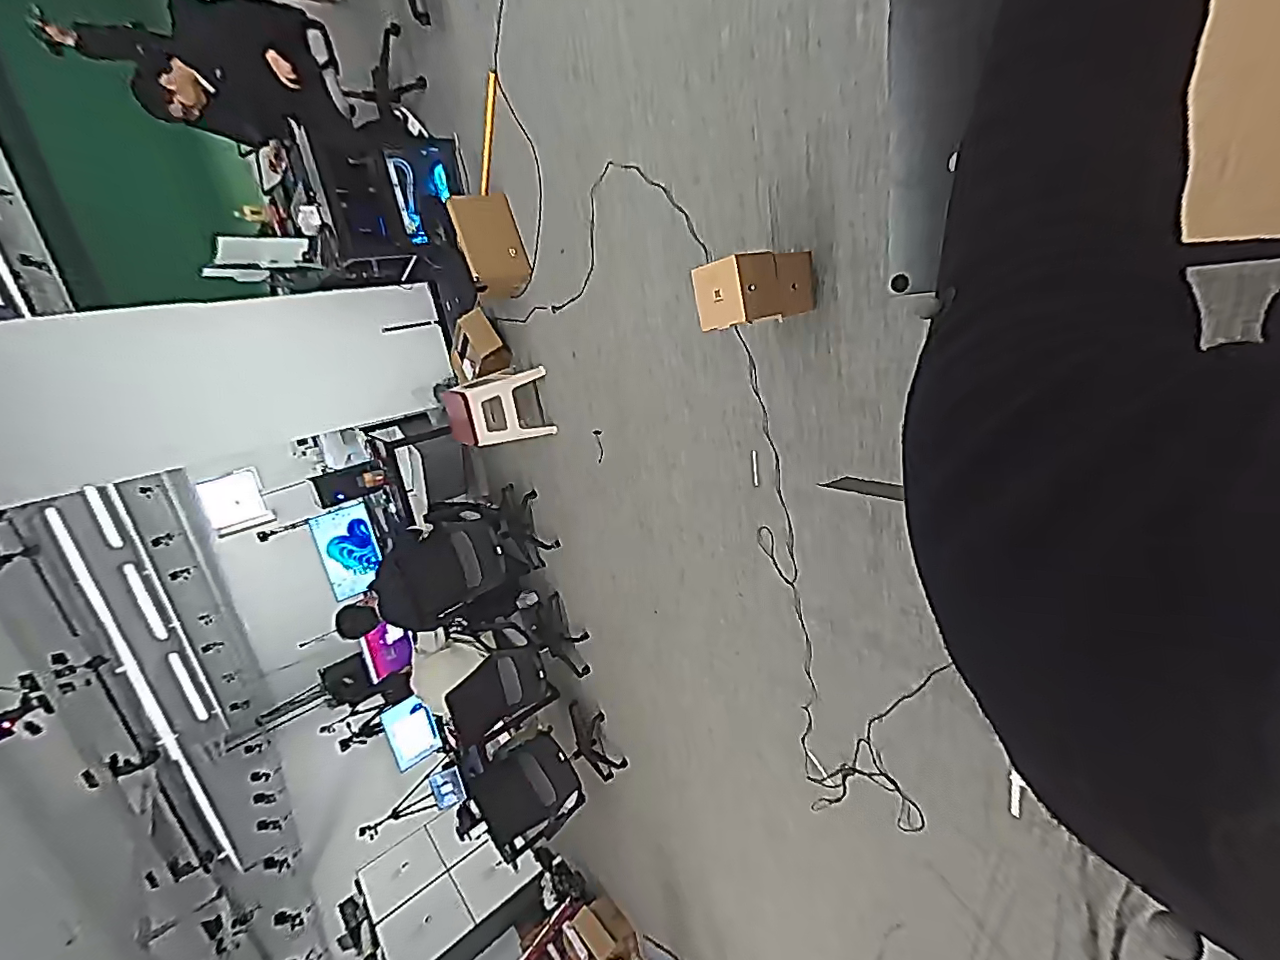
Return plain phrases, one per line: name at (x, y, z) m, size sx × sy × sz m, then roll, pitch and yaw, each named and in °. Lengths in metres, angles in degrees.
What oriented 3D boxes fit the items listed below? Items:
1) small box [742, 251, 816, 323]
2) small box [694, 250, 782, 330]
small box at (0.406, -0.580, 1.617) m, size 0.168 × 0.176 × 0.179 m, roll 8°, pitch 115°, yaw 51°
small box at (0.281, -0.535, 1.522) m, size 0.168 × 0.176 × 0.179 m, roll 4°, pitch 111°, yaw 51°
